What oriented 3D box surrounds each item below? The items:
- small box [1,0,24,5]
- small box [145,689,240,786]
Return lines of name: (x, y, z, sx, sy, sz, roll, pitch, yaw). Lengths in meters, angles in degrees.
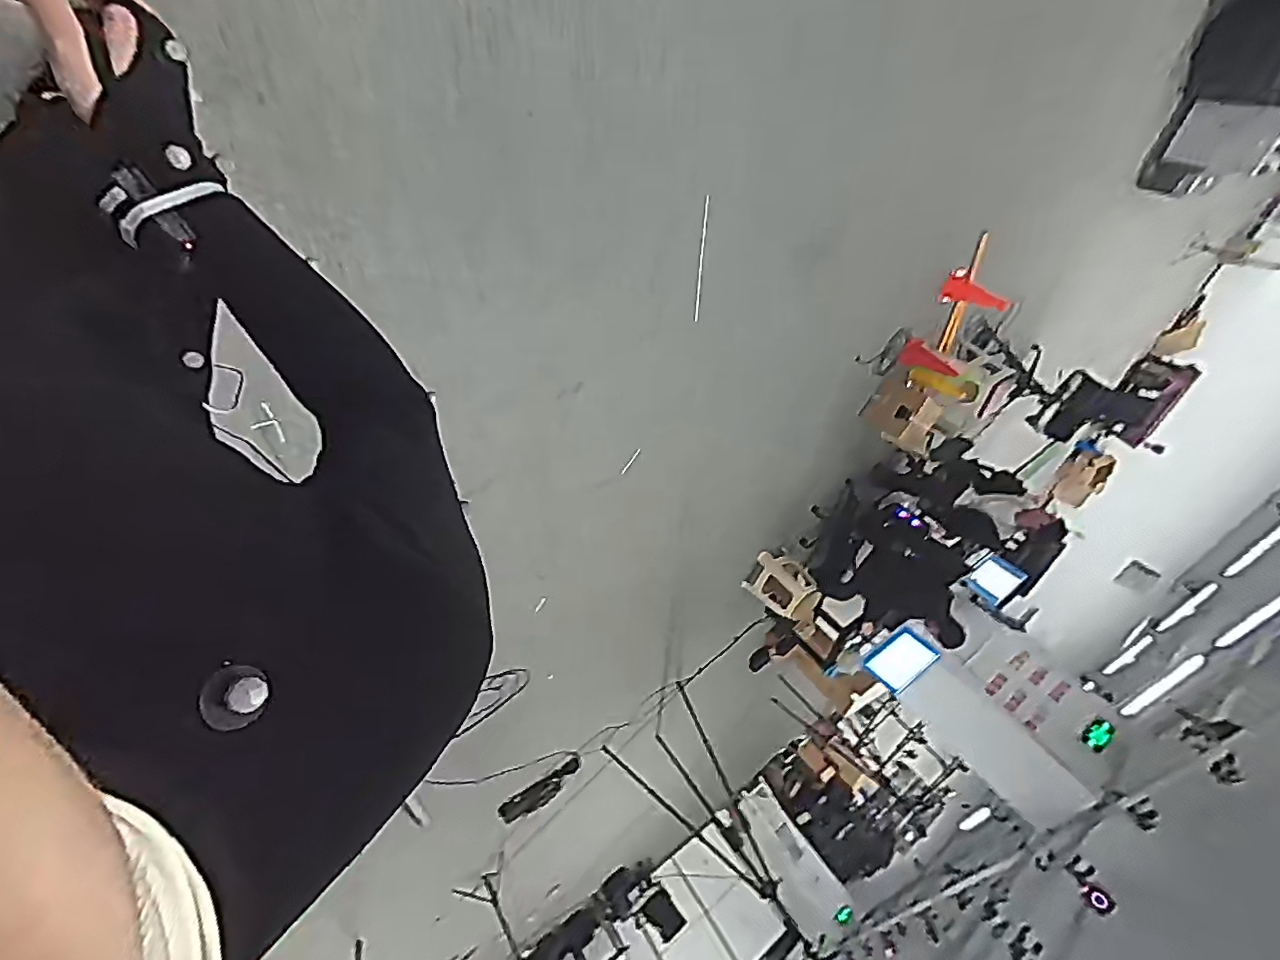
small box: (-0.485, -0.428, 0.315, 0.168, 0.176, 0.179, -1, 121, -48)
small box: (-1.333, 0.762, 1.614, 0.168, 0.176, 0.179, -24, 138, -28)
